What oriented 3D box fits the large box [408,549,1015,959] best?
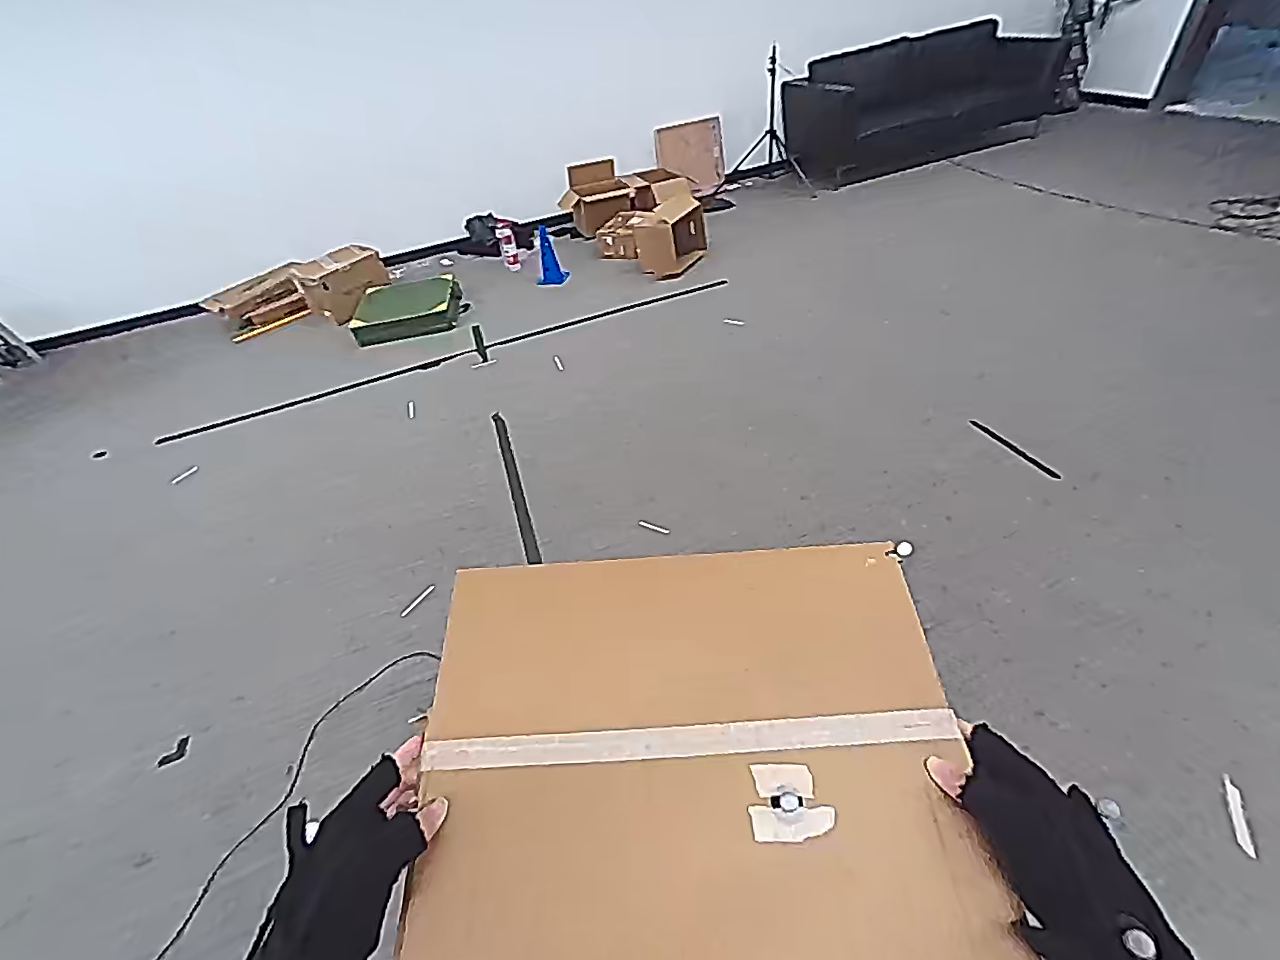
[{"bbox_3d":[0.041,0.292,0.550,0.408,0.320,0.320,-4,56,1],"label":"large box"}]
